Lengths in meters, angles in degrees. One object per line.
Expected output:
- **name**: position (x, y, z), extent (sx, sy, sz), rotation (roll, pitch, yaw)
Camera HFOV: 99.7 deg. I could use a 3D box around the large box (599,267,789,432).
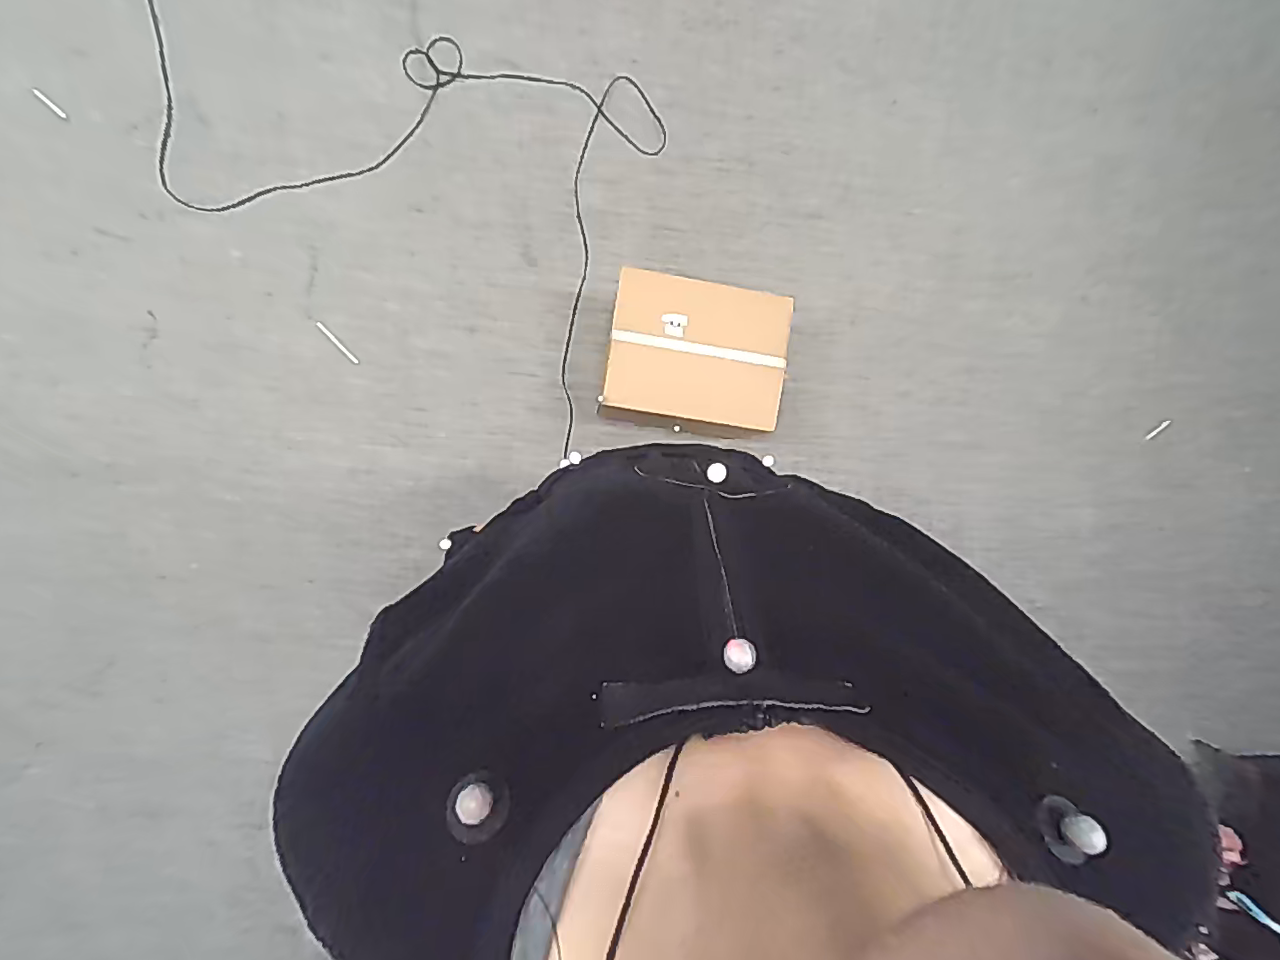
- **large box**: position (0.115, -0.304, 1.371), extent (0.408, 0.320, 0.320), rotation (9, 90, -5)
